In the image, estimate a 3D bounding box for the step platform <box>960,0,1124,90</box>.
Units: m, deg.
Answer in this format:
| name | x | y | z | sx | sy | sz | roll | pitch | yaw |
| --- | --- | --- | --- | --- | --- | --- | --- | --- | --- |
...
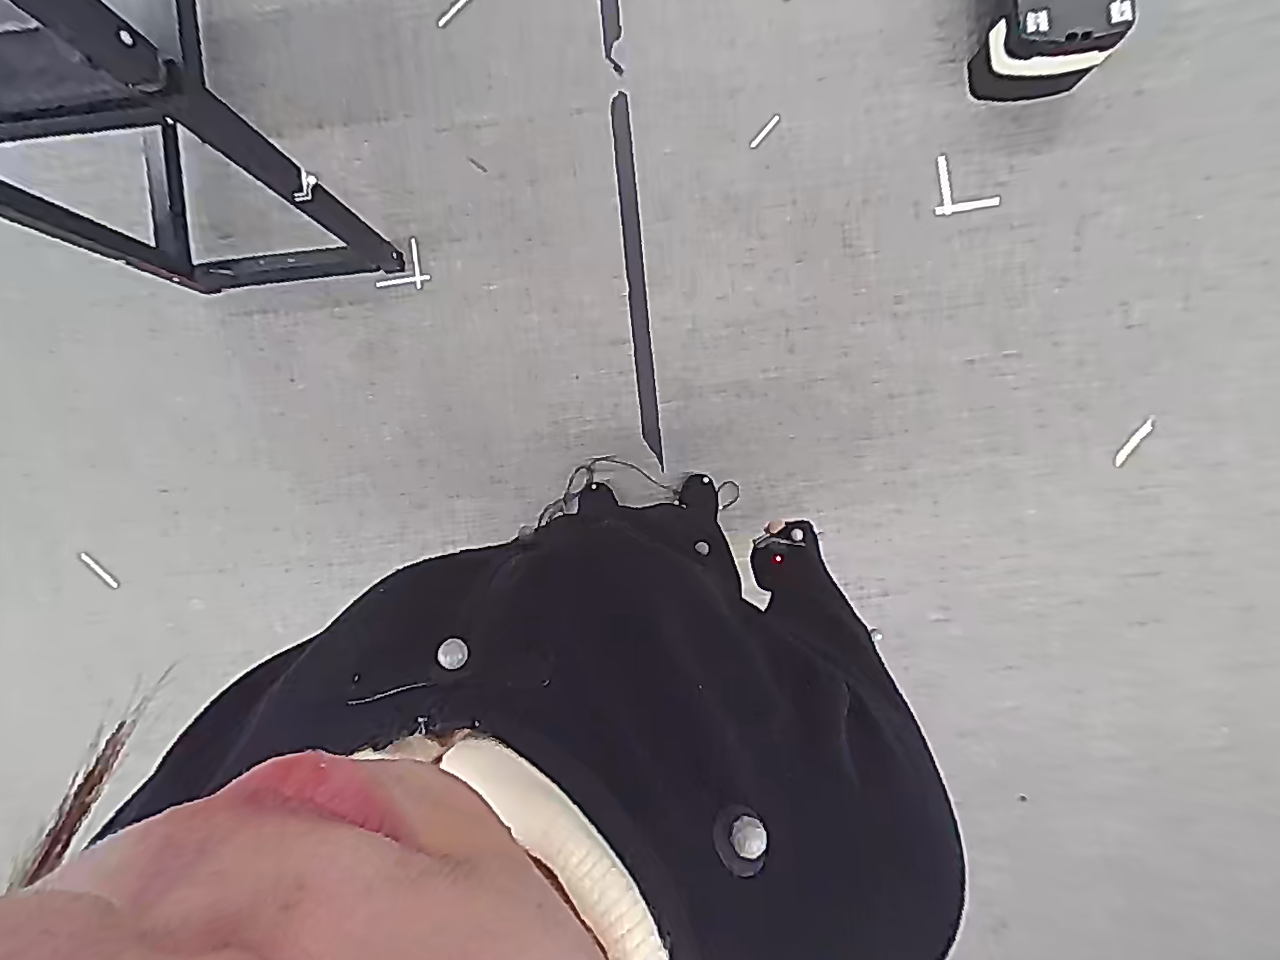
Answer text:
| name | x | y | z | sx | sy | sz | roll | pitch | yaw |
| --- | --- | --- | --- | --- | --- | --- | --- | --- | --- |
| step platform | 0.994 | -1.382 | 1.345 | 0.286 | 0.204 | 0.684 | 0 | 91 | 1 |
